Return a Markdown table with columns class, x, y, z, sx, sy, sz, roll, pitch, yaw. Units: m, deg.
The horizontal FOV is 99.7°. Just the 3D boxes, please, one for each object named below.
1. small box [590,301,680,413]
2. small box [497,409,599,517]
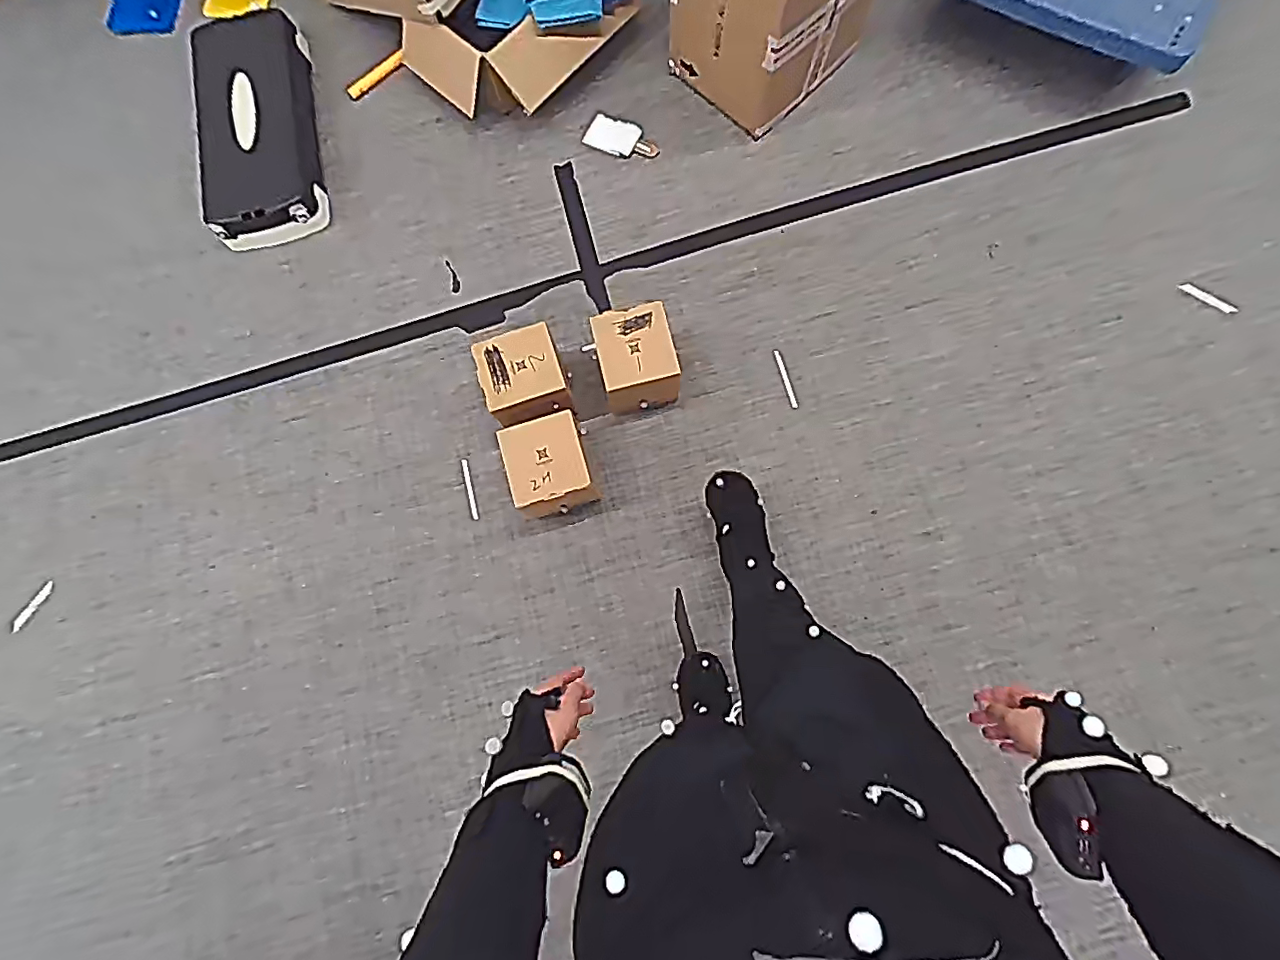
| class | x | y | z | sx | sy | sz | roll | pitch | yaw |
| --- | --- | --- | --- | --- | --- | --- | --- | --- | --- |
| small box | -0.010 | -0.274 | 1.236 | 0.168 | 0.176 | 0.179 | -14 | 79 | 0 |
| small box | -0.197 | -0.031 | 1.196 | 0.168 | 0.176 | 0.179 | -17 | 79 | 0 |
